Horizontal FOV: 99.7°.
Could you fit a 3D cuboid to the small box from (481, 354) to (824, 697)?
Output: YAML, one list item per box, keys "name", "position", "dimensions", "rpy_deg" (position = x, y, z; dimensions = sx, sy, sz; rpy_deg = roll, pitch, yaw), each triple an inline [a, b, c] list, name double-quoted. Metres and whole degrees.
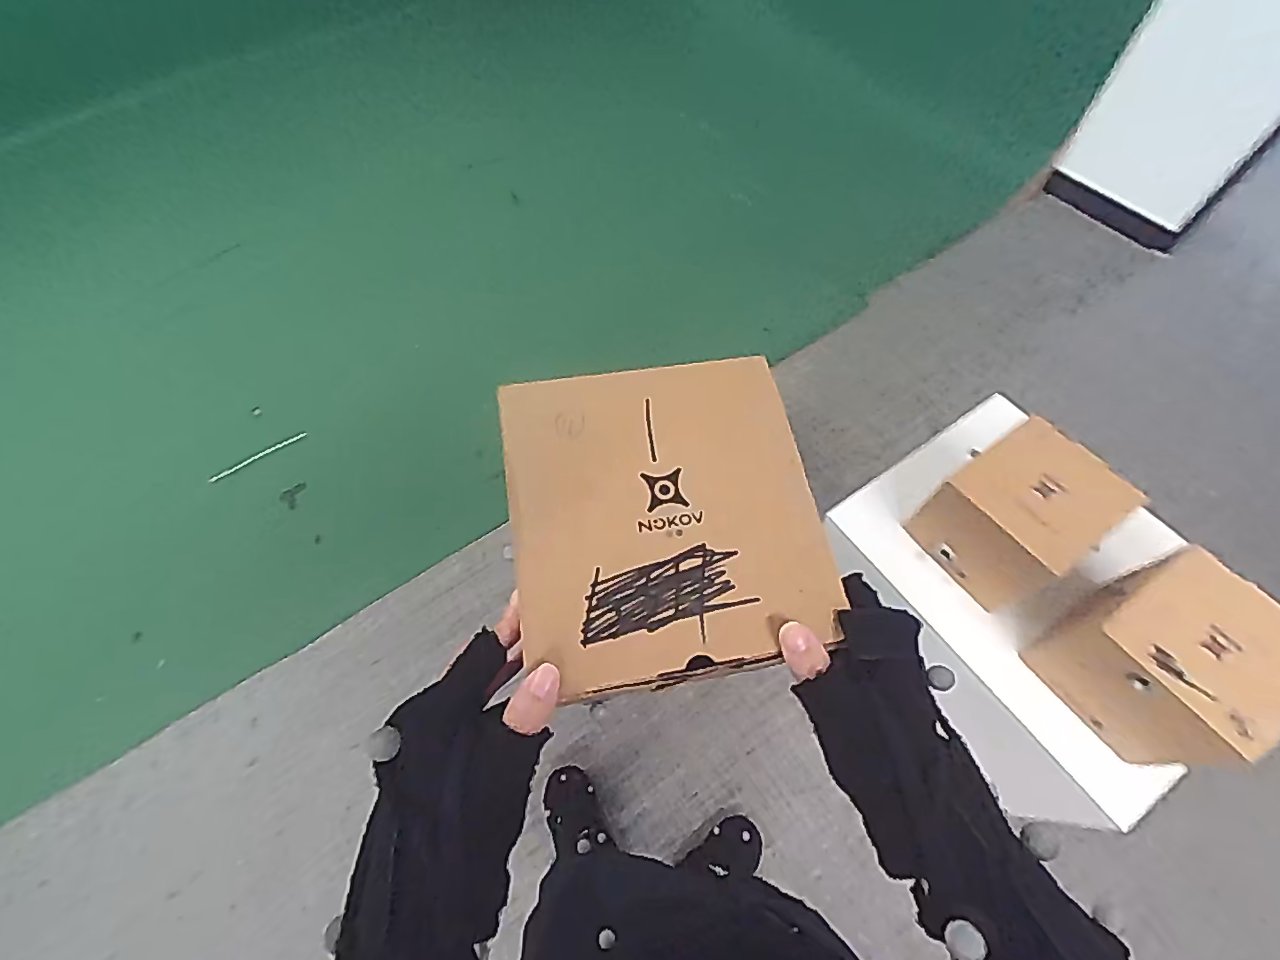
- name: "small box"
  position: [-0.004, 0.042, 0.369]
  dimensions: [0.168, 0.176, 0.179]
  rpy_deg: [-9, 67, -8]

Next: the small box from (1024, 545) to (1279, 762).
- name: "small box"
  position: [0.623, 0.212, 0.652]
  dimensions: [0.179, 0.176, 0.168]
  rpy_deg: [-31, 65, -13]

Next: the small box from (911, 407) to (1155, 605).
- name: "small box"
  position: [0.511, 0.041, 0.735]
  dimensions: [0.179, 0.176, 0.168]
  rpy_deg: [-34, 65, -12]
